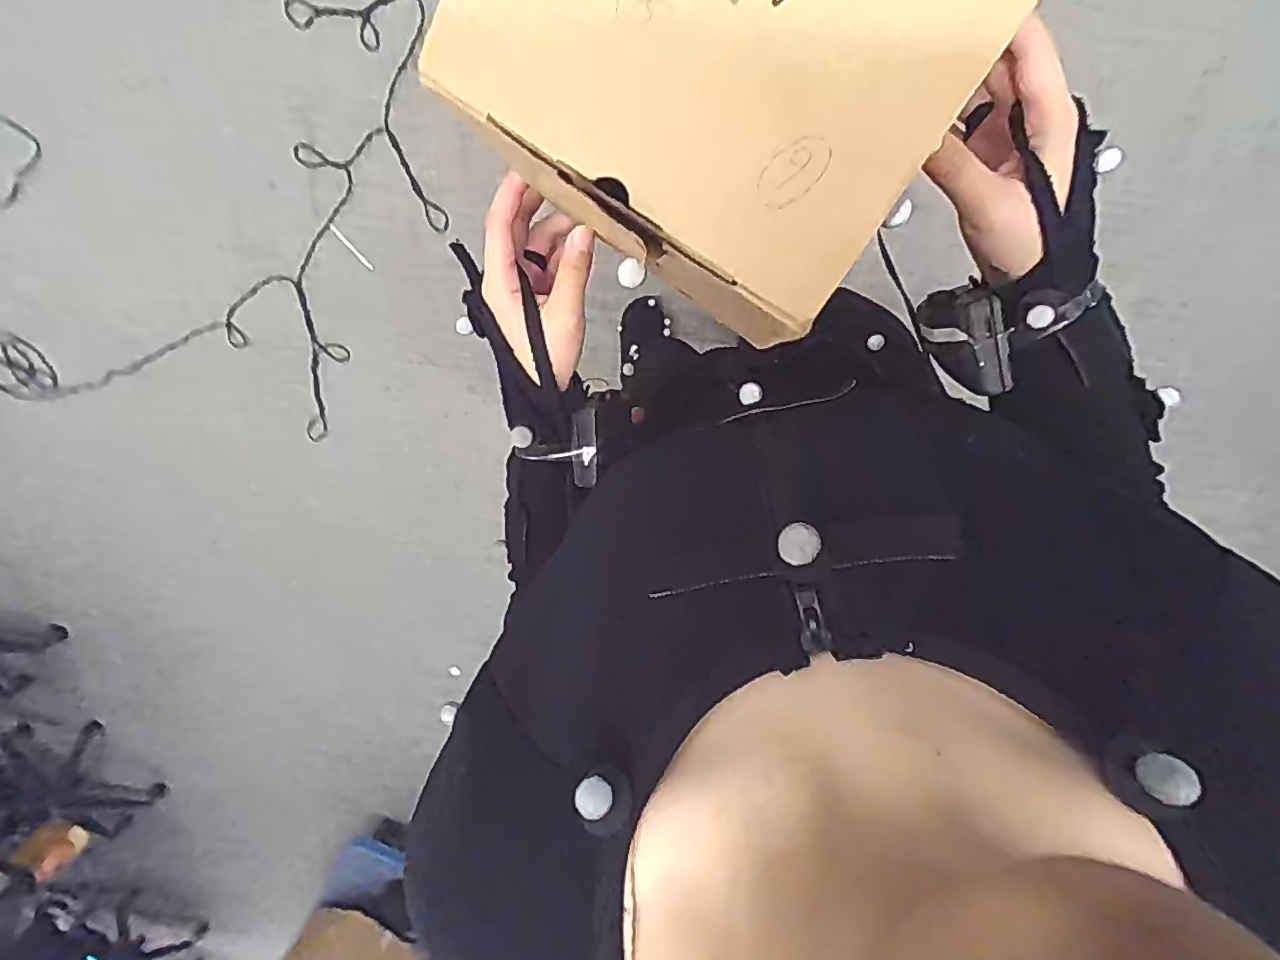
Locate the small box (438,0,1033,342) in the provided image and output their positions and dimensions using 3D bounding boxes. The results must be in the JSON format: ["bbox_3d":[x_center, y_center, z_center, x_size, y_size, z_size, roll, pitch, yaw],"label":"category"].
[{"bbox_3d":[0.047,-0.181,0.258,0.168,0.176,0.179,34,105,0],"label":"small box"}]
